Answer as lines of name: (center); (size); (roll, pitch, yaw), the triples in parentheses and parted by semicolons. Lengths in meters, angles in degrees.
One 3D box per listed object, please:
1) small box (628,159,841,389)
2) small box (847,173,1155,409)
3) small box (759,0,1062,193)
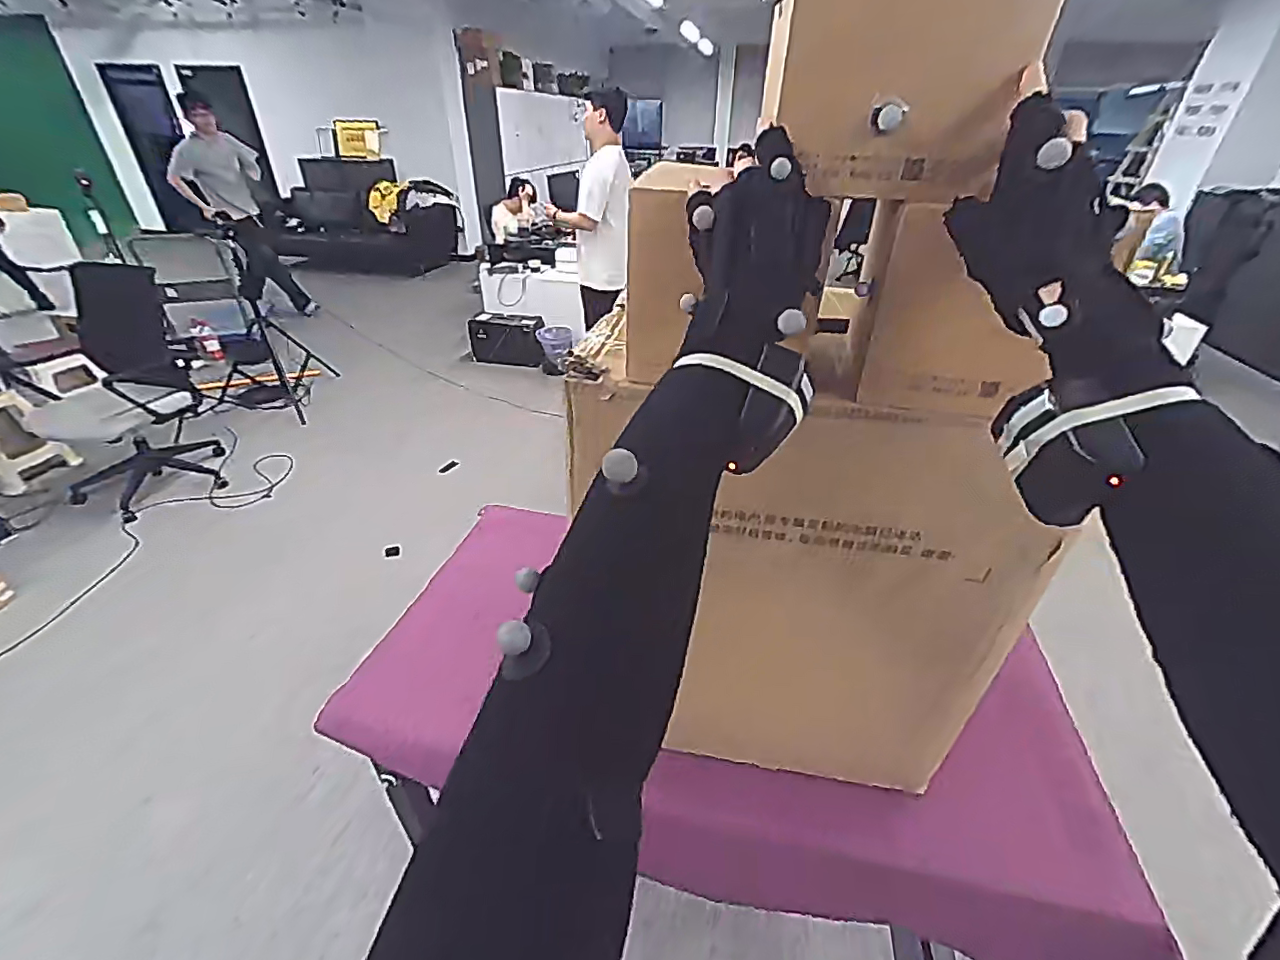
small box: (0.083, -0.205, 0.522); (0.168, 0.176, 0.179); (7, 35, 9)
small box: (0.294, -0.178, 0.494); (0.168, 0.176, 0.179); (9, 34, 12)
small box: (0.189, -0.330, 0.422); (0.168, 0.176, 0.179); (5, 36, 5)
